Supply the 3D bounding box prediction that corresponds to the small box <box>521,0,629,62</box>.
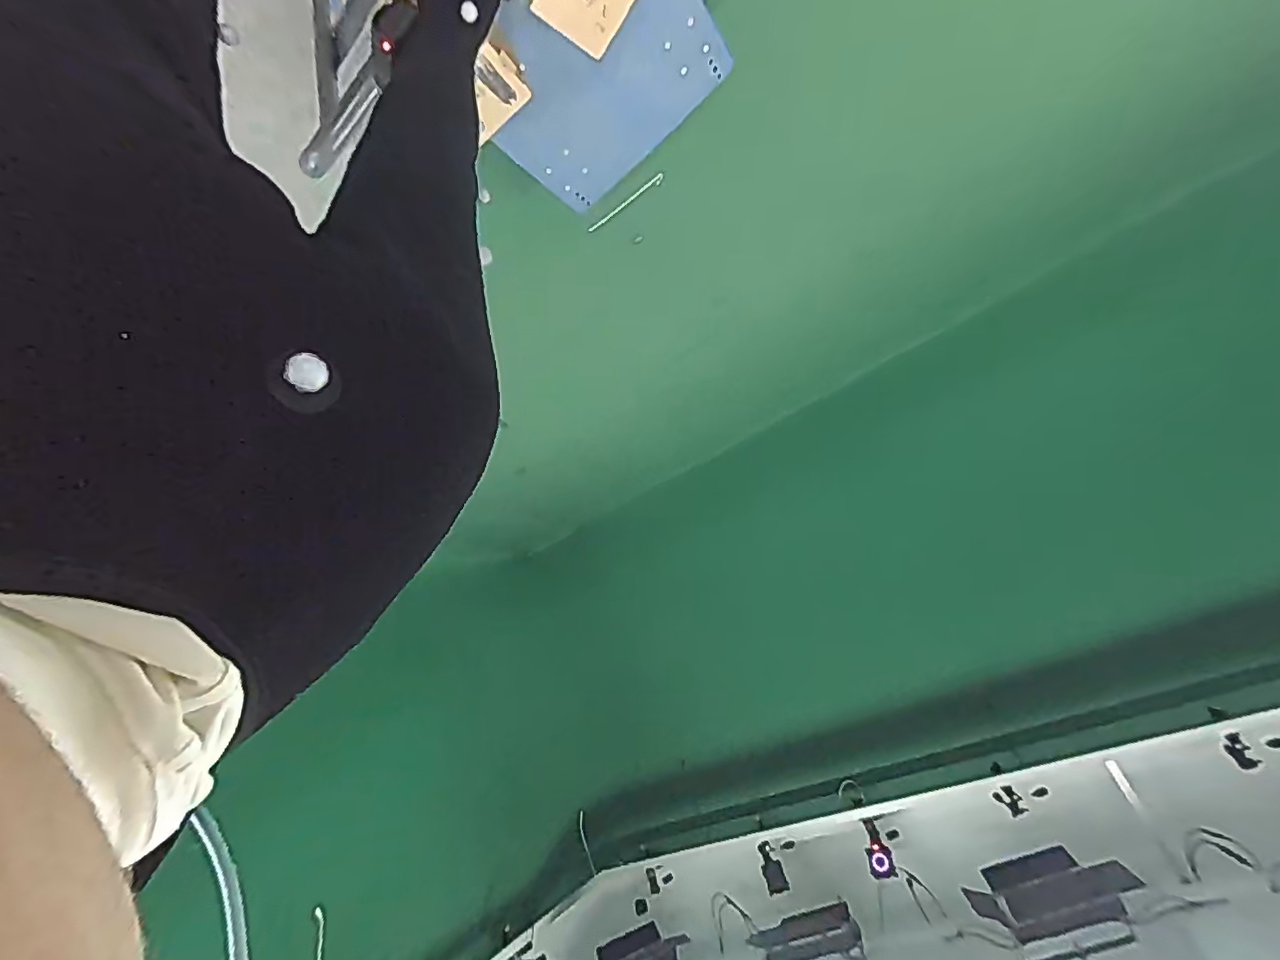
[{"bbox_3d":[-0.139,-0.989,1.057,0.179,0.176,0.168,3,149,-45],"label":"small box"}]
